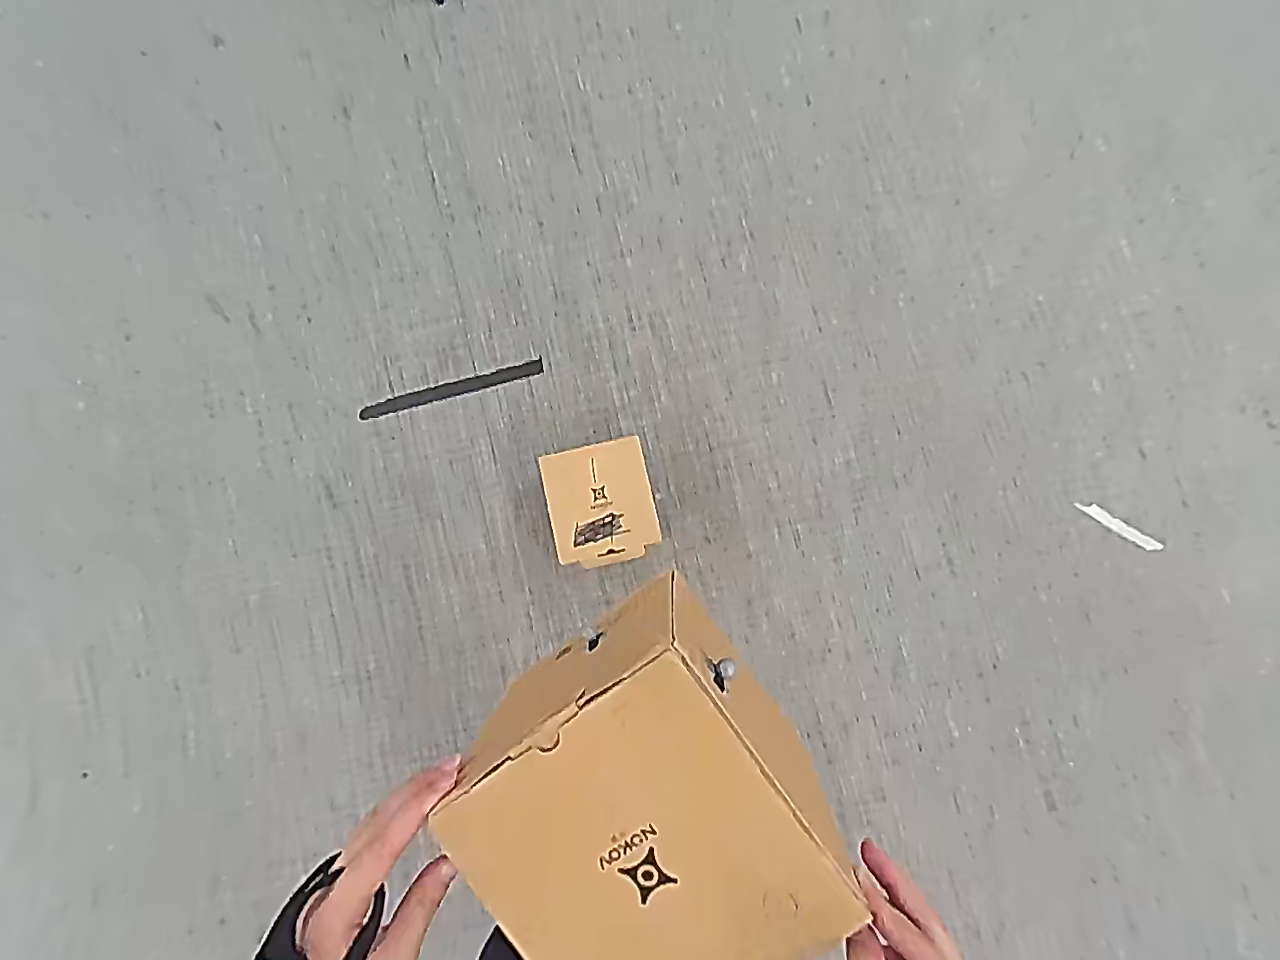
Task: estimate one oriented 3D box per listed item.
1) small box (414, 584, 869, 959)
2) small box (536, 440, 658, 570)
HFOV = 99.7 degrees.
[{"bbox_3d":[0.004,0.194,0.348,0.168,0.176,0.179,-37,90,5],"label":"small box"},{"bbox_3d":[-0.065,0.045,0.917,0.168,0.176,0.179,-13,83,-1],"label":"small box"}]
